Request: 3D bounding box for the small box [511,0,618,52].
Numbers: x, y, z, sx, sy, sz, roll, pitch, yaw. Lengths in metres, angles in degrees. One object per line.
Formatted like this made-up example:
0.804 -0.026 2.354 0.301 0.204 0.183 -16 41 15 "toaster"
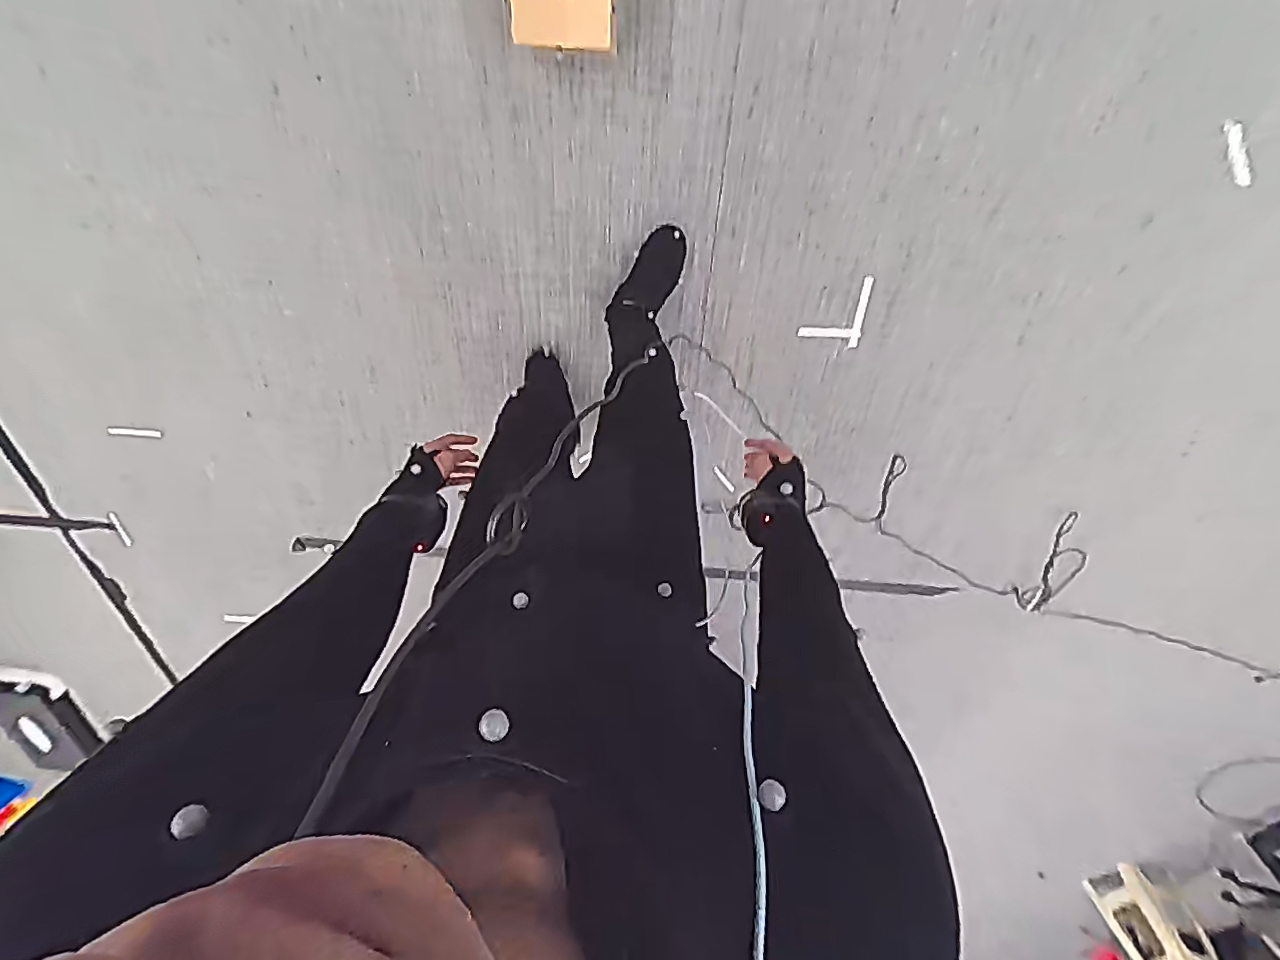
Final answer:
-0.129 -0.879 0.967 0.179 0.176 0.168 3 125 1 "small box"
